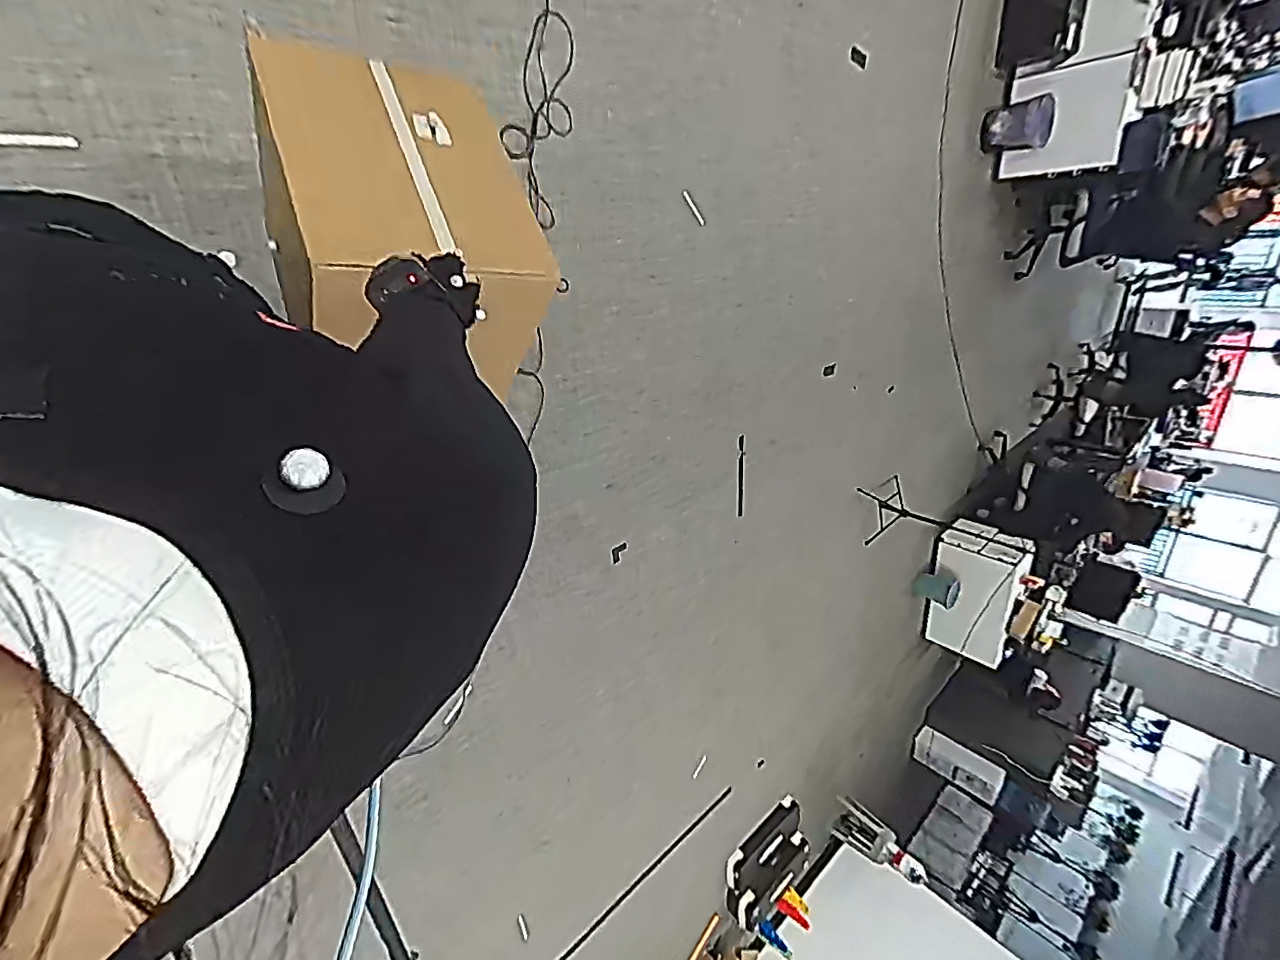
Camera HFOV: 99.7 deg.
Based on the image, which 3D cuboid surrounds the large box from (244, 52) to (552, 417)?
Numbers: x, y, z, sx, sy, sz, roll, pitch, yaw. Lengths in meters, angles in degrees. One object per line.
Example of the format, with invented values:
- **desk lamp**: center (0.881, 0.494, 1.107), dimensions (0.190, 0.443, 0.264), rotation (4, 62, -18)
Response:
- **large box**: center (-0.395, -0.361, 0.867), dimensions (0.320, 0.320, 0.408), rotation (-12, 68, -37)
